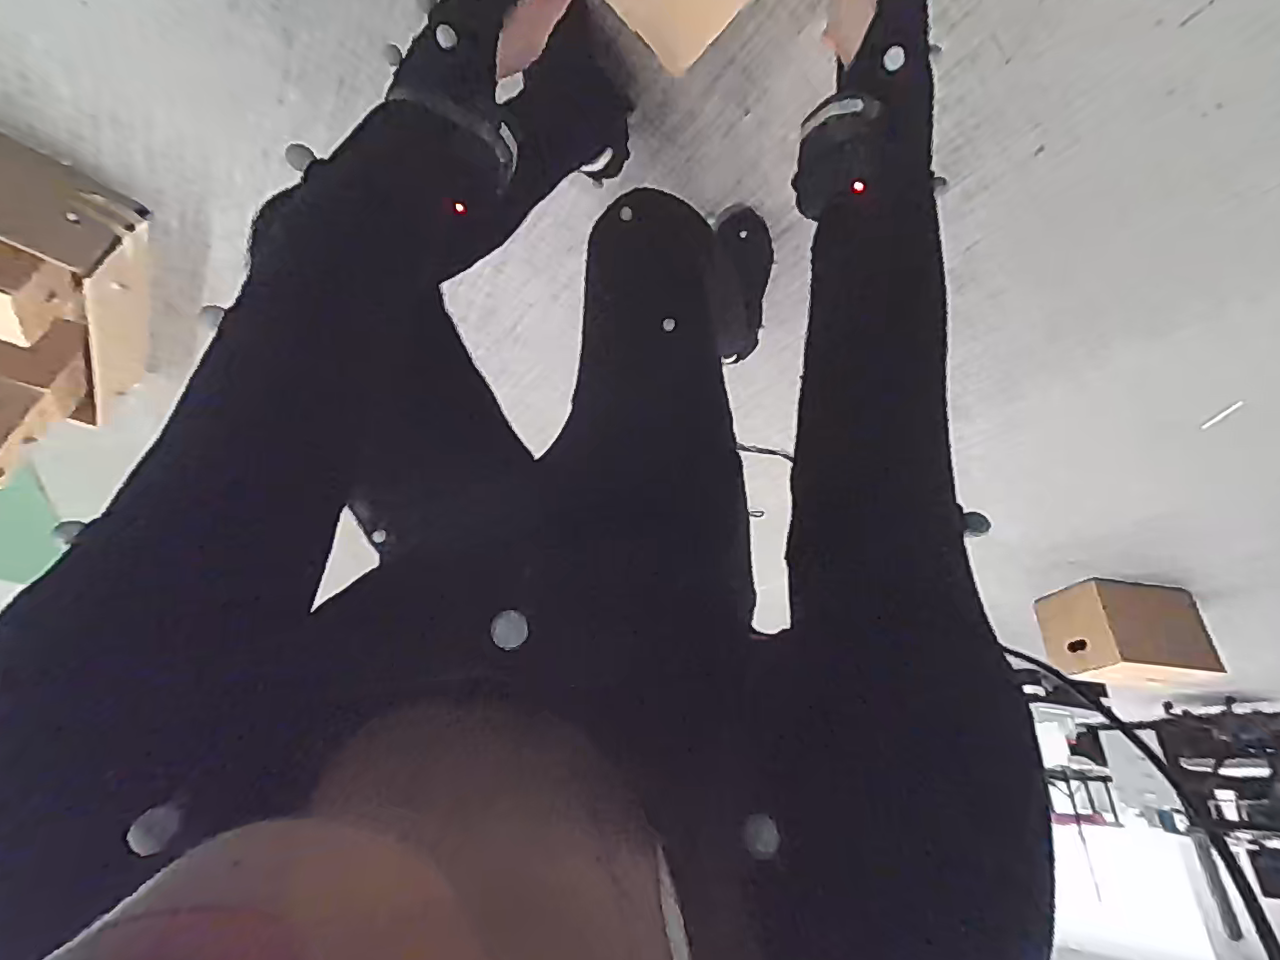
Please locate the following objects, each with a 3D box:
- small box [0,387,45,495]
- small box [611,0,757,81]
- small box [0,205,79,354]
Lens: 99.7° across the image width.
[{"bbox_3d":[-1.310,-0.096,1.046,0.179,0.176,0.168,26,144,-34],"label":"small box"},{"bbox_3d":[0.048,-0.551,0.513,0.168,0.176,0.179,29,142,-35],"label":"small box"},{"bbox_3d":[-1.094,-0.351,0.903,0.168,0.176,0.179,25,145,-32],"label":"small box"}]
